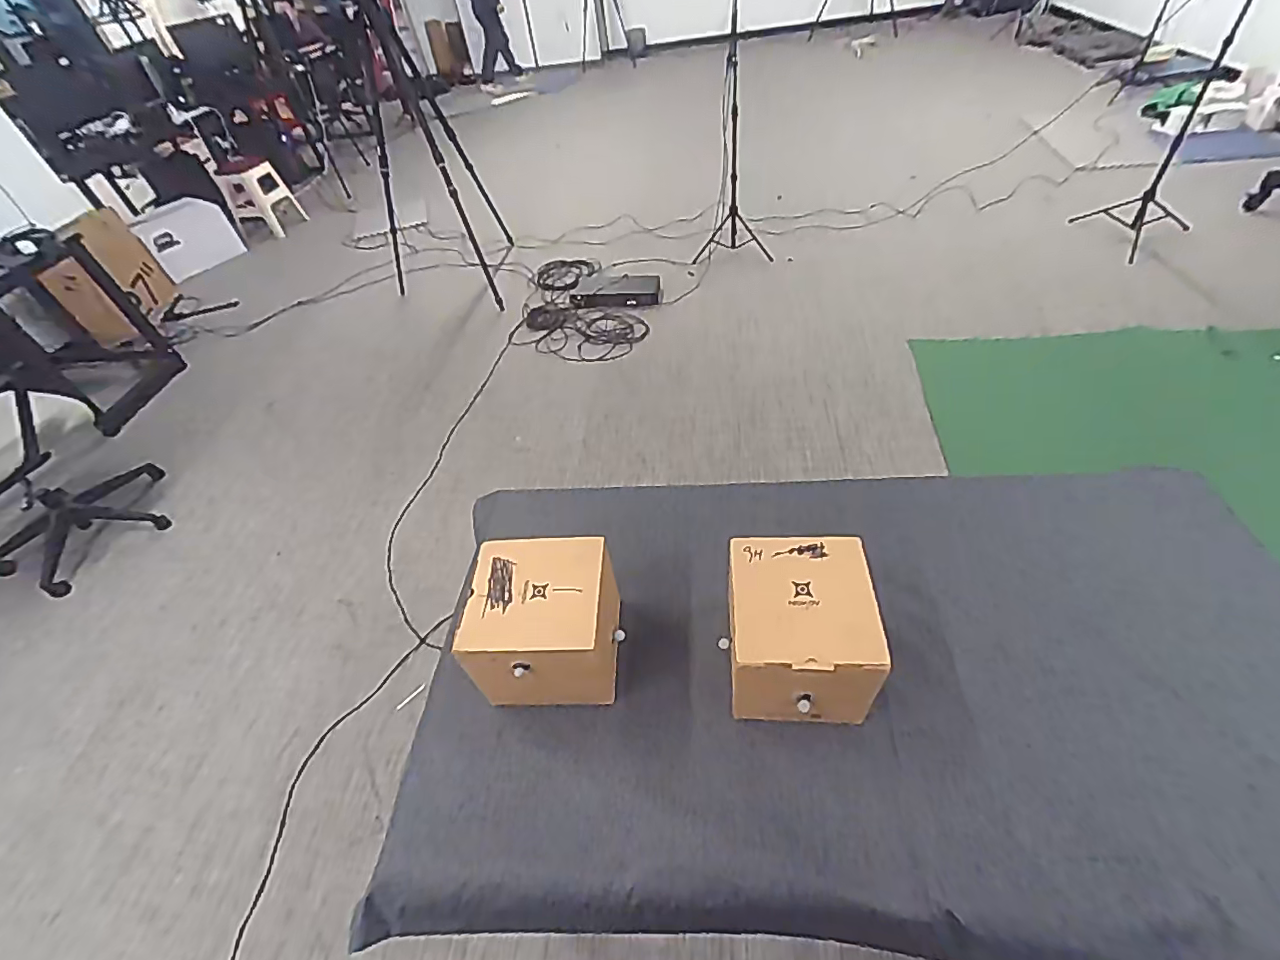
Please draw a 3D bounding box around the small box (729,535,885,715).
[{"bbox_3d":[0.202,0.191,0.703,0.168,0.176,0.179,-1,48,8],"label":"small box"}]

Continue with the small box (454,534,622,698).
[{"bbox_3d":[-0.126,0.191,0.750,0.179,0.176,0.168,-2,48,5],"label":"small box"}]
